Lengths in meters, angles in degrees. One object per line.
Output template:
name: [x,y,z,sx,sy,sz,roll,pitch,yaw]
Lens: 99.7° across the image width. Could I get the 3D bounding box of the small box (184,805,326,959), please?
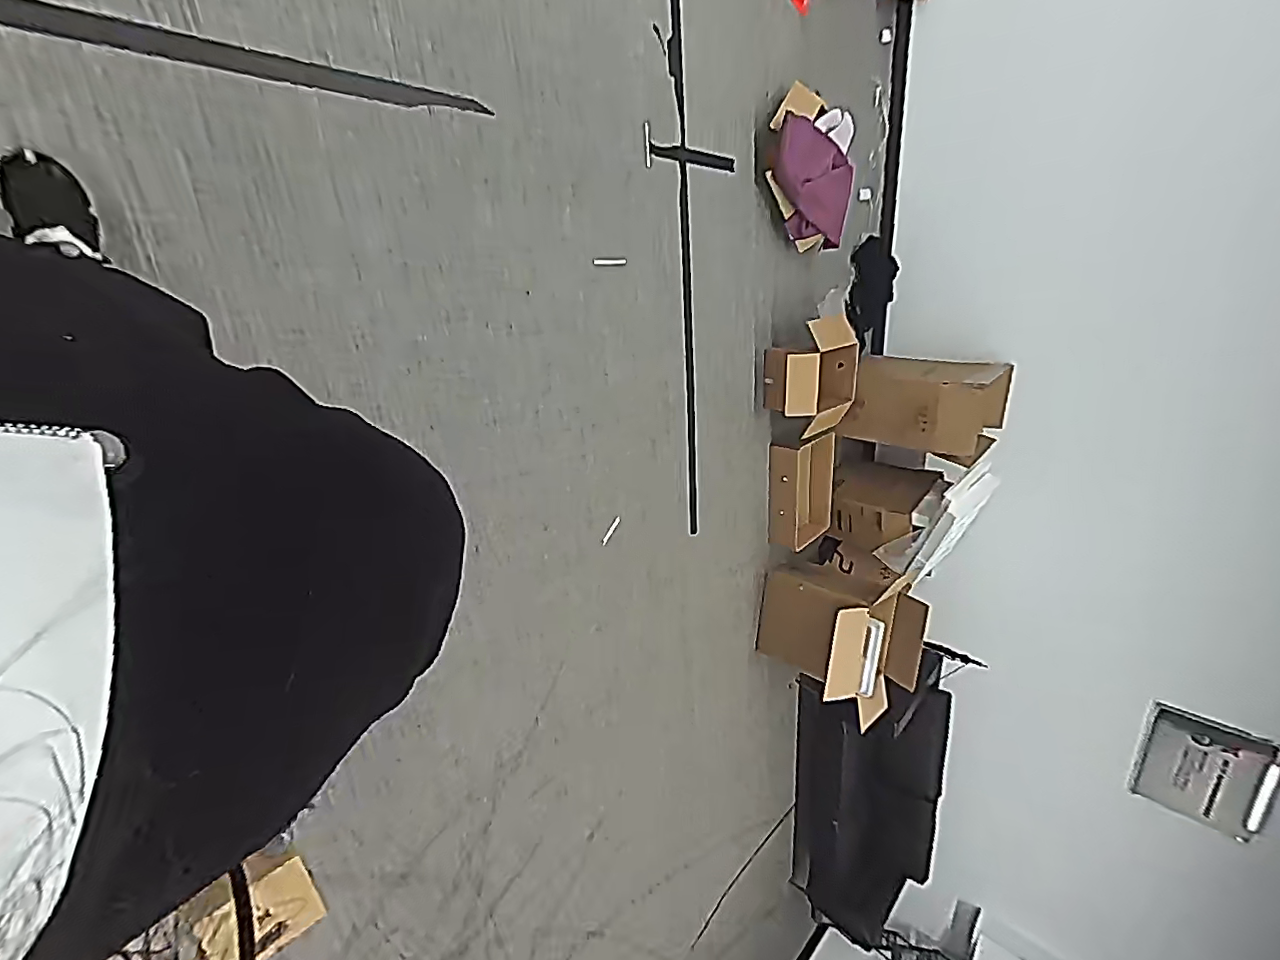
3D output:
small box: [-0.740,0.782,1.042,0.168,0.176,0.179,-25,119,-40]
